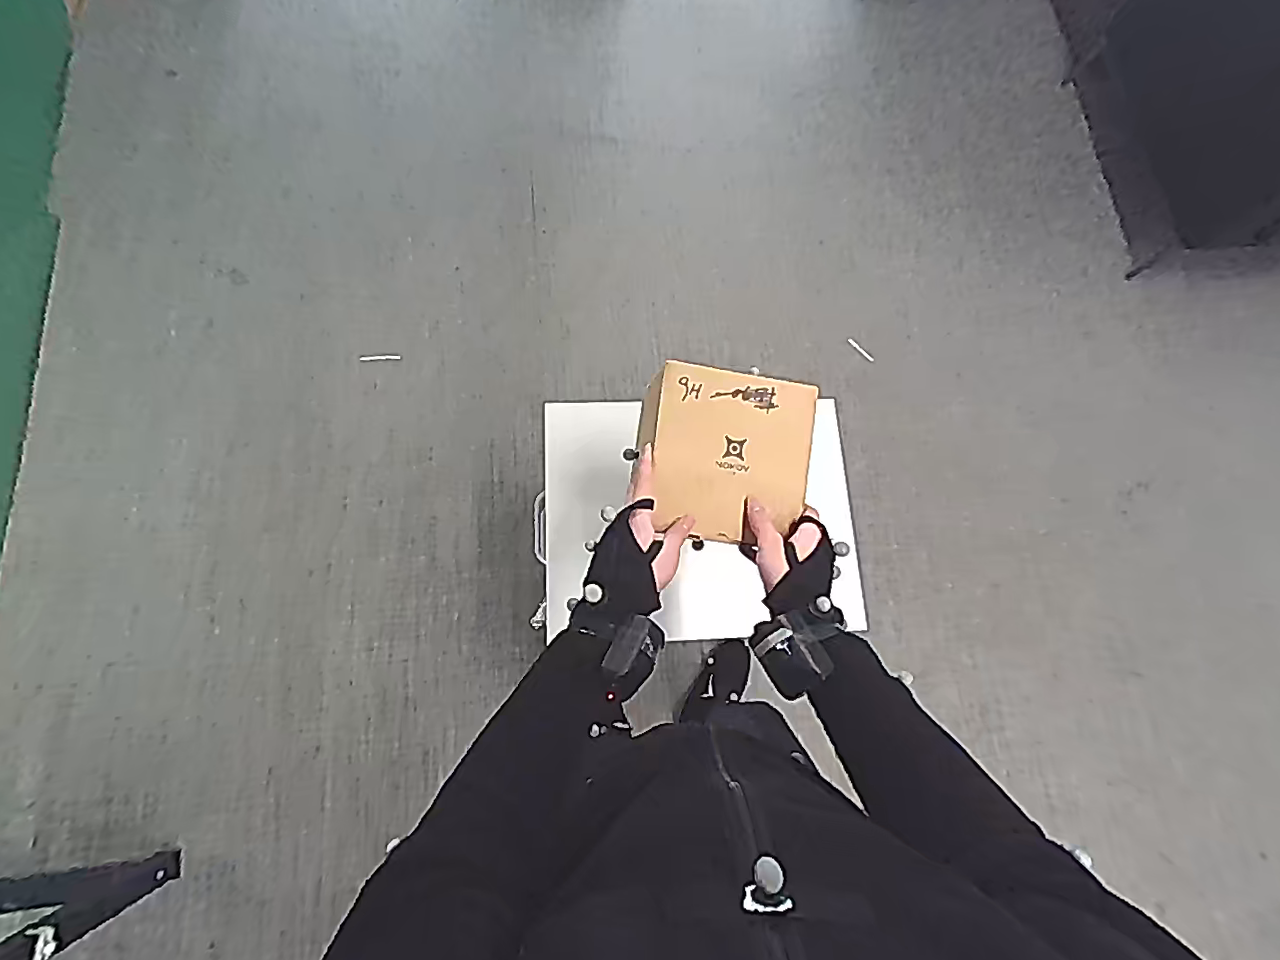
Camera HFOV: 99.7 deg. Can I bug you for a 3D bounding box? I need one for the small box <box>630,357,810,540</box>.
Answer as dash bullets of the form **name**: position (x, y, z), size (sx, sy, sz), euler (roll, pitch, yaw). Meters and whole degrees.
- **small box**: position (0.082, -0.029, 0.642), size (0.168, 0.176, 0.179), euler (7, 86, -6)
